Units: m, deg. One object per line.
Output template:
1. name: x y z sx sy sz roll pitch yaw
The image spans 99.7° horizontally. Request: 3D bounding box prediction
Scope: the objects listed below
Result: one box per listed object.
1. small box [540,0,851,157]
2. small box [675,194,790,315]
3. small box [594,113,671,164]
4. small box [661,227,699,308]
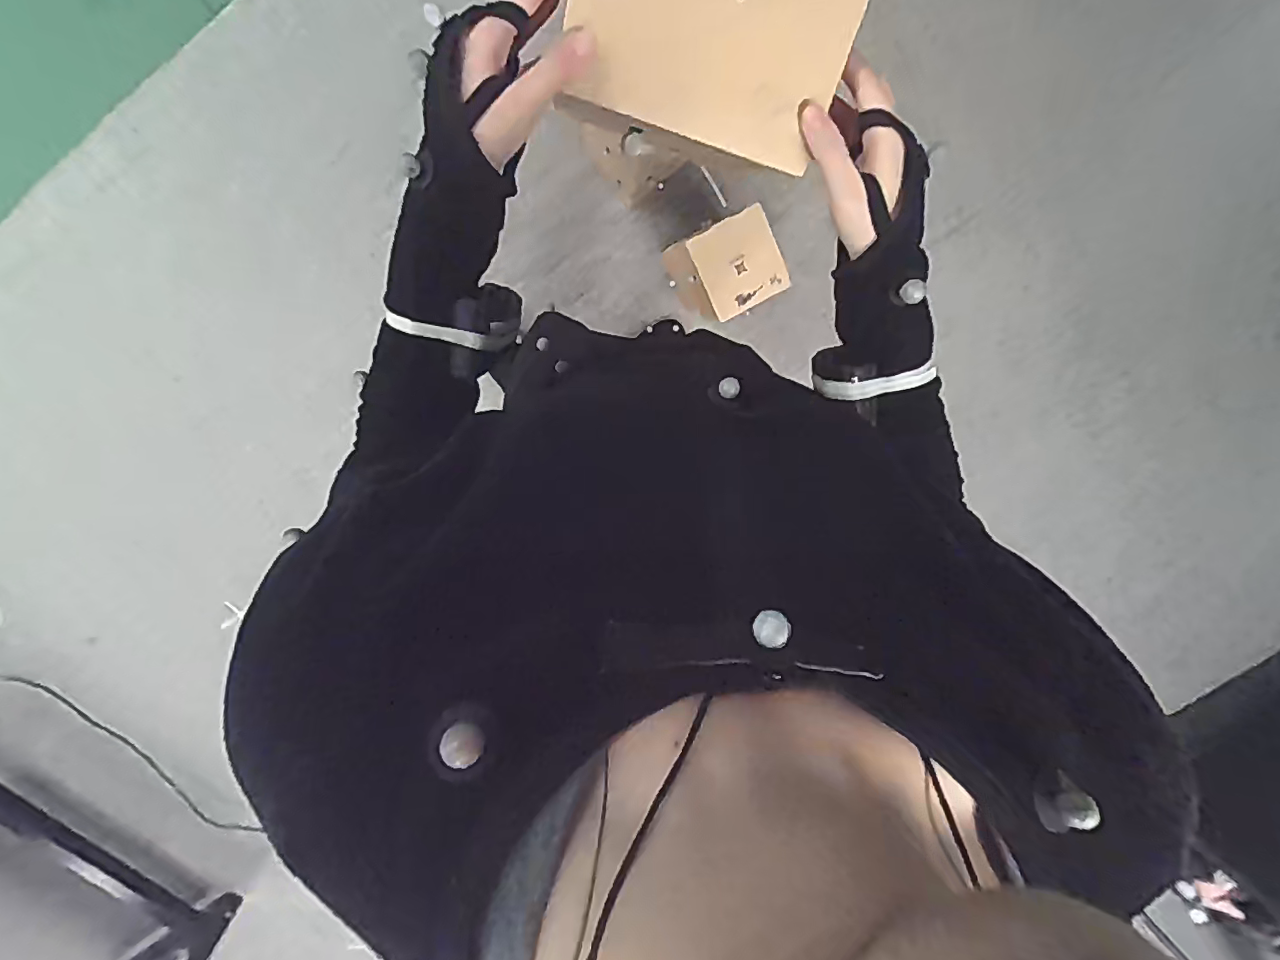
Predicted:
1. small box: 0.034 -0.332 0.355 0.168 0.176 0.179 10 117 -14
2. small box: 0.186 -0.463 1.142 0.168 0.176 0.179 -27 107 4
3. small box: 0.008 -0.656 0.891 0.168 0.176 0.179 -37 106 6
4. small box: 0.166 -0.527 1.294 0.179 0.176 0.168 -27 107 4
